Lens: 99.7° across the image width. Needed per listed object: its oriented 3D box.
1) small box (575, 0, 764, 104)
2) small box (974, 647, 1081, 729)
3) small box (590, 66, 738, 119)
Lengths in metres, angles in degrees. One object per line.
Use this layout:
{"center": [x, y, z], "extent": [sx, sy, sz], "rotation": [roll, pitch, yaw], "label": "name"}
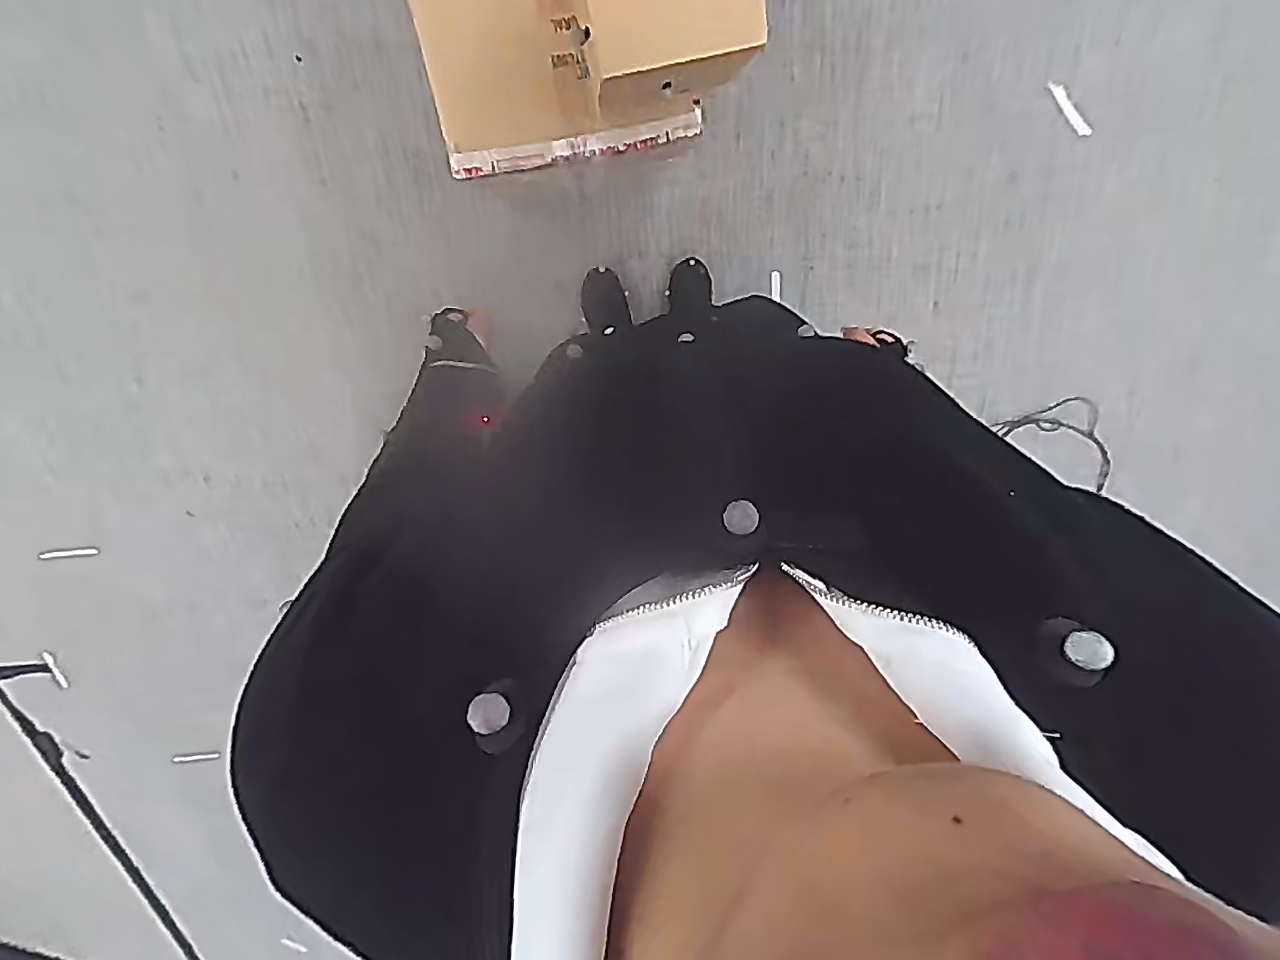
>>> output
{"center": [0.019, -0.511, 0.556], "extent": [0.168, 0.176, 0.179], "rotation": [-13, 115, -1], "label": "small box"}
{"center": [1.154, 0.620, 1.623], "extent": [0.179, 0.176, 0.168], "rotation": [-1, 111, -3], "label": "small box"}
{"center": [0.015, -0.592, 0.701], "extent": [0.179, 0.176, 0.168], "rotation": [-12, 115, 0], "label": "small box"}
